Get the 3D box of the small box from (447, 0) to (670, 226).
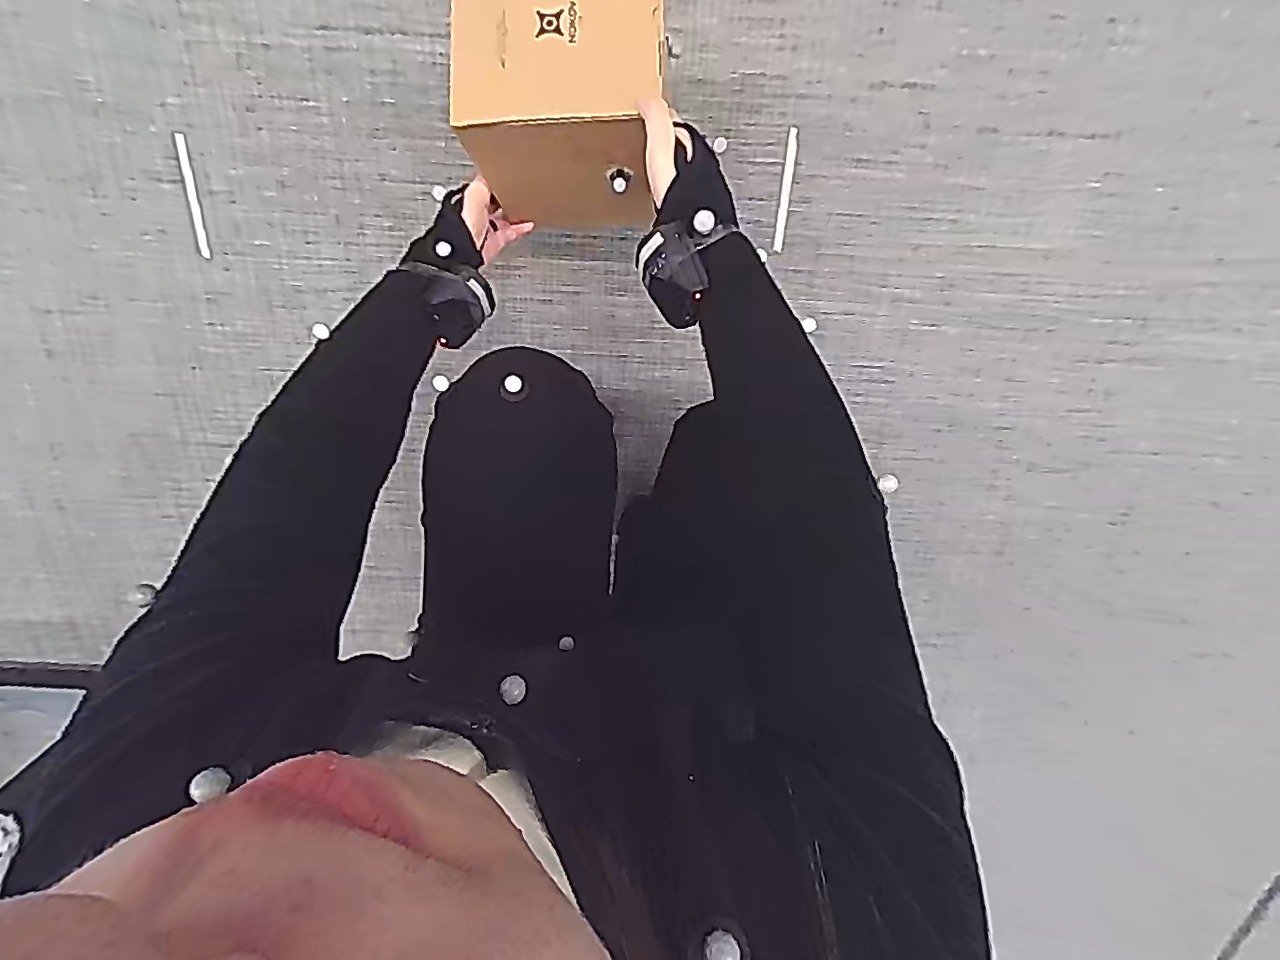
[{"bbox_3d":[-0.062,-0.361,0.511,0.179,0.176,0.168,0,87,6],"label":"small box"}]
